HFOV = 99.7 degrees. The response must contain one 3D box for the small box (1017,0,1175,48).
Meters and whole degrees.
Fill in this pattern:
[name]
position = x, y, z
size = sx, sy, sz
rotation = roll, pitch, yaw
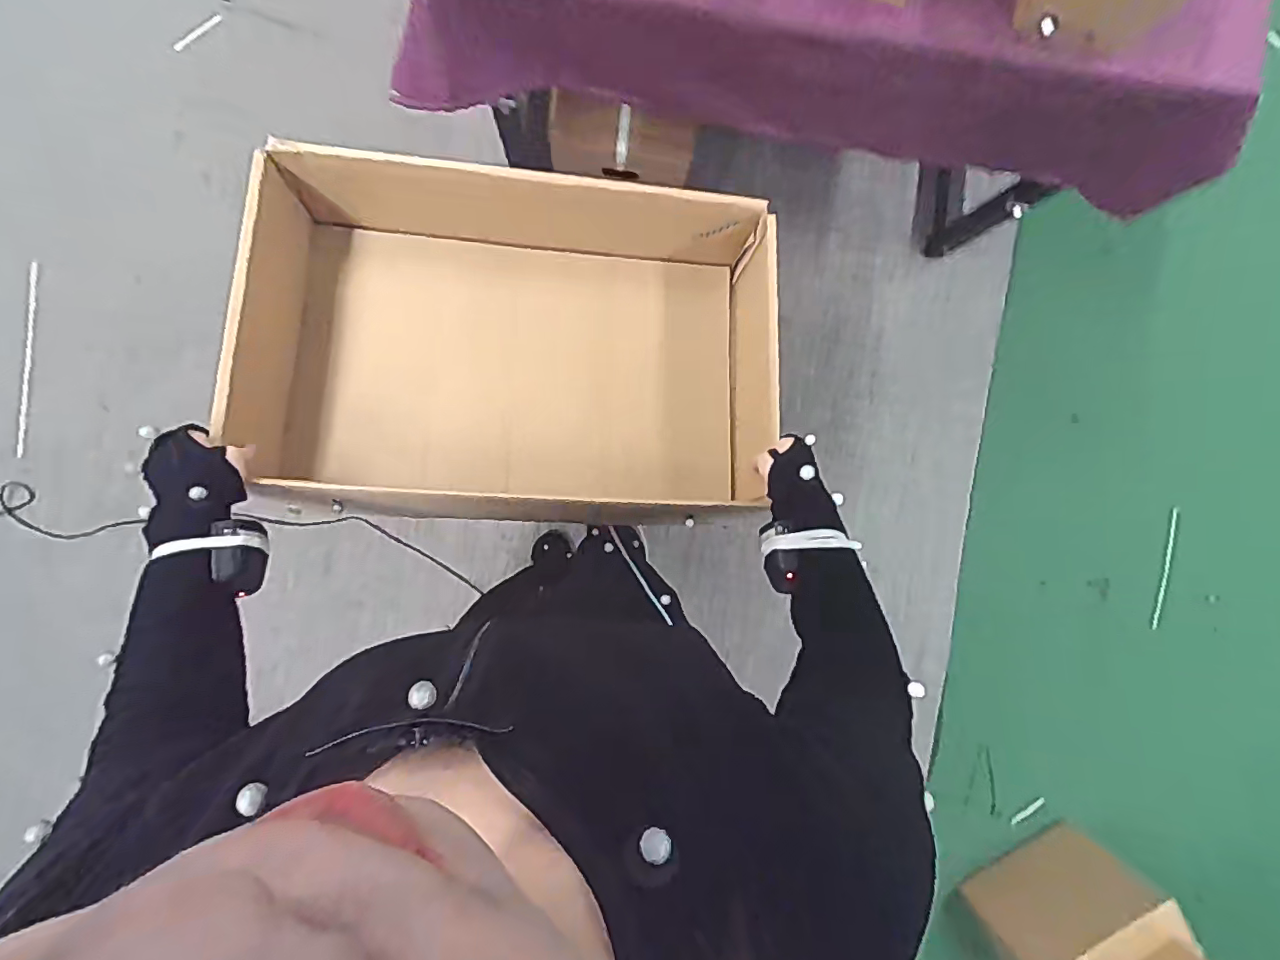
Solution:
[small box]
position = 0.624, -0.705, 0.686
size = 0.168, 0.176, 0.179
rotation = 8, 92, -5
